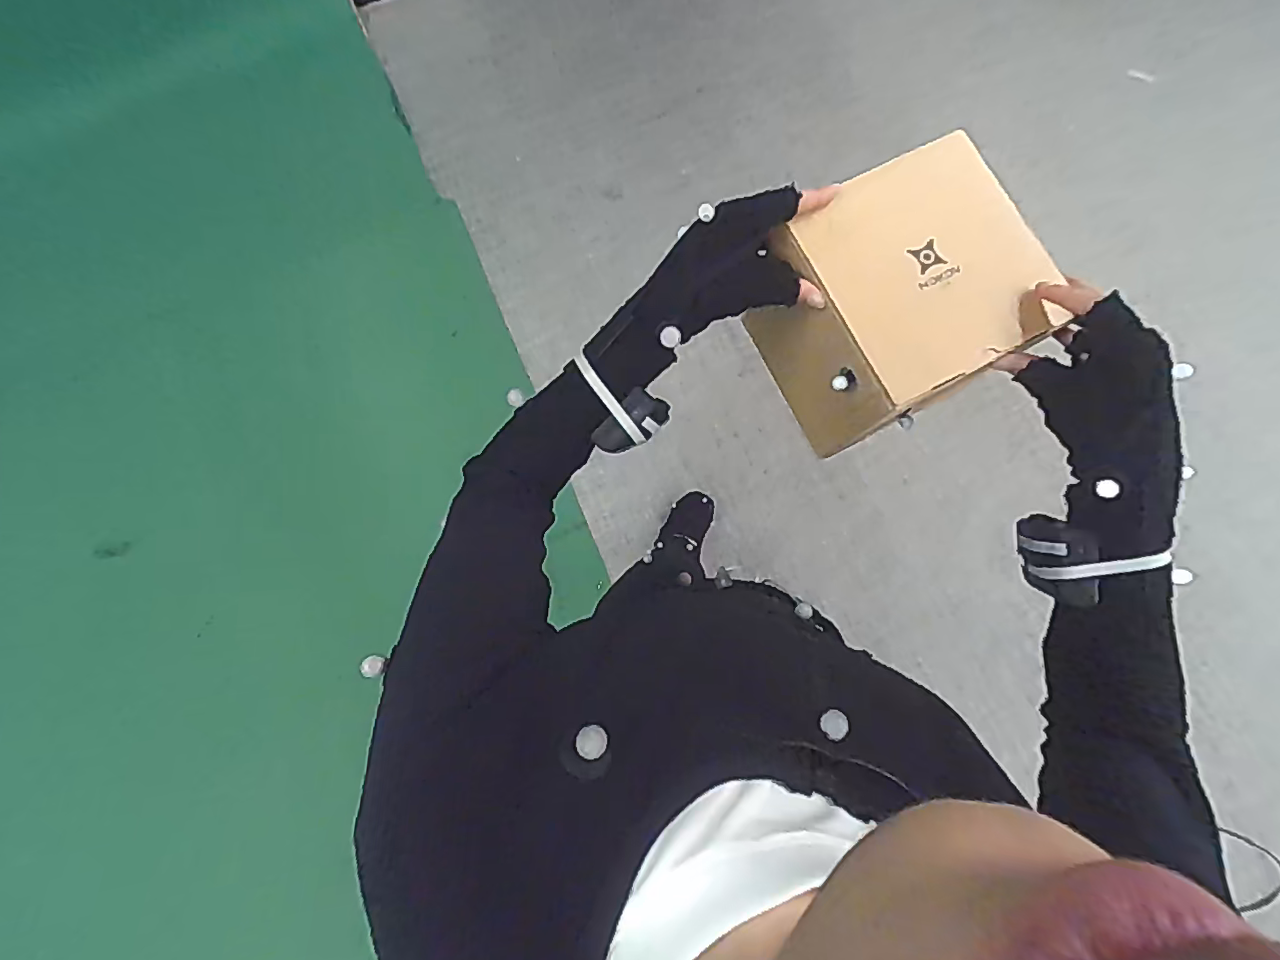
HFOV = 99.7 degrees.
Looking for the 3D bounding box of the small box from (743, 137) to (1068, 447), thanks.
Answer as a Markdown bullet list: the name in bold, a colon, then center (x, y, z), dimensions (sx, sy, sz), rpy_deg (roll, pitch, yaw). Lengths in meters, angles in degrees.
- **small box**: center (0.212, -0.152, 0.491), dimensions (0.168, 0.176, 0.179), rpy_deg (-26, 81, -5)
